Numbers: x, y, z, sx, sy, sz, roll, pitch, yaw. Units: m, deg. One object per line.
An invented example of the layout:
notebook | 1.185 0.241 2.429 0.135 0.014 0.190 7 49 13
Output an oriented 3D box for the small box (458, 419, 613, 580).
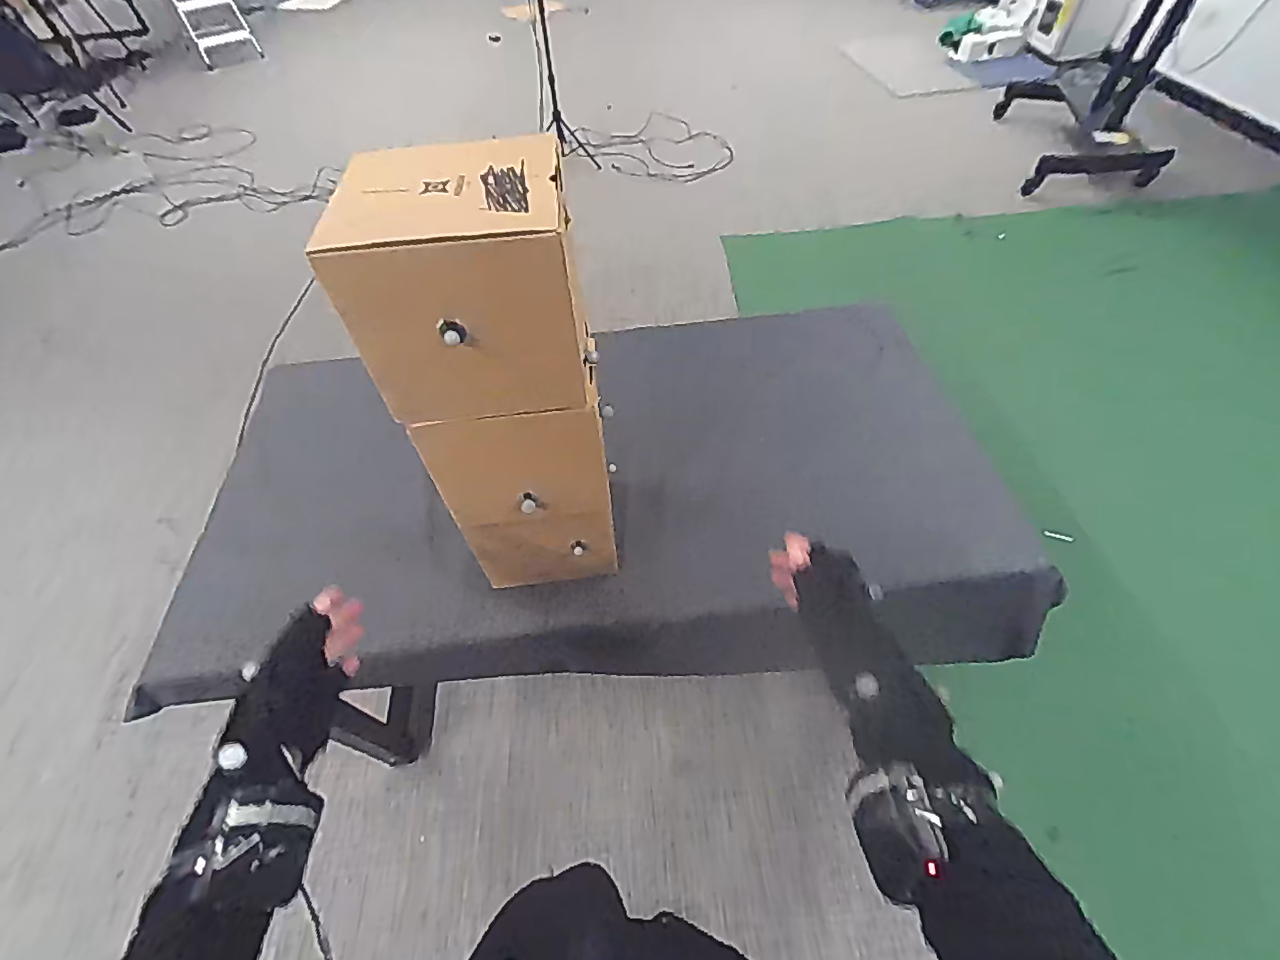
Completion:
small box | -0.131 0.021 0.742 0.179 0.176 0.168 -8 53 -1

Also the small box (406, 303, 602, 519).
small box | -0.135 -0.073 0.608 0.179 0.176 0.168 -6 53 -3

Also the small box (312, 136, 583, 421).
small box | -0.145 -0.172 0.477 0.179 0.176 0.168 -8 53 -5
